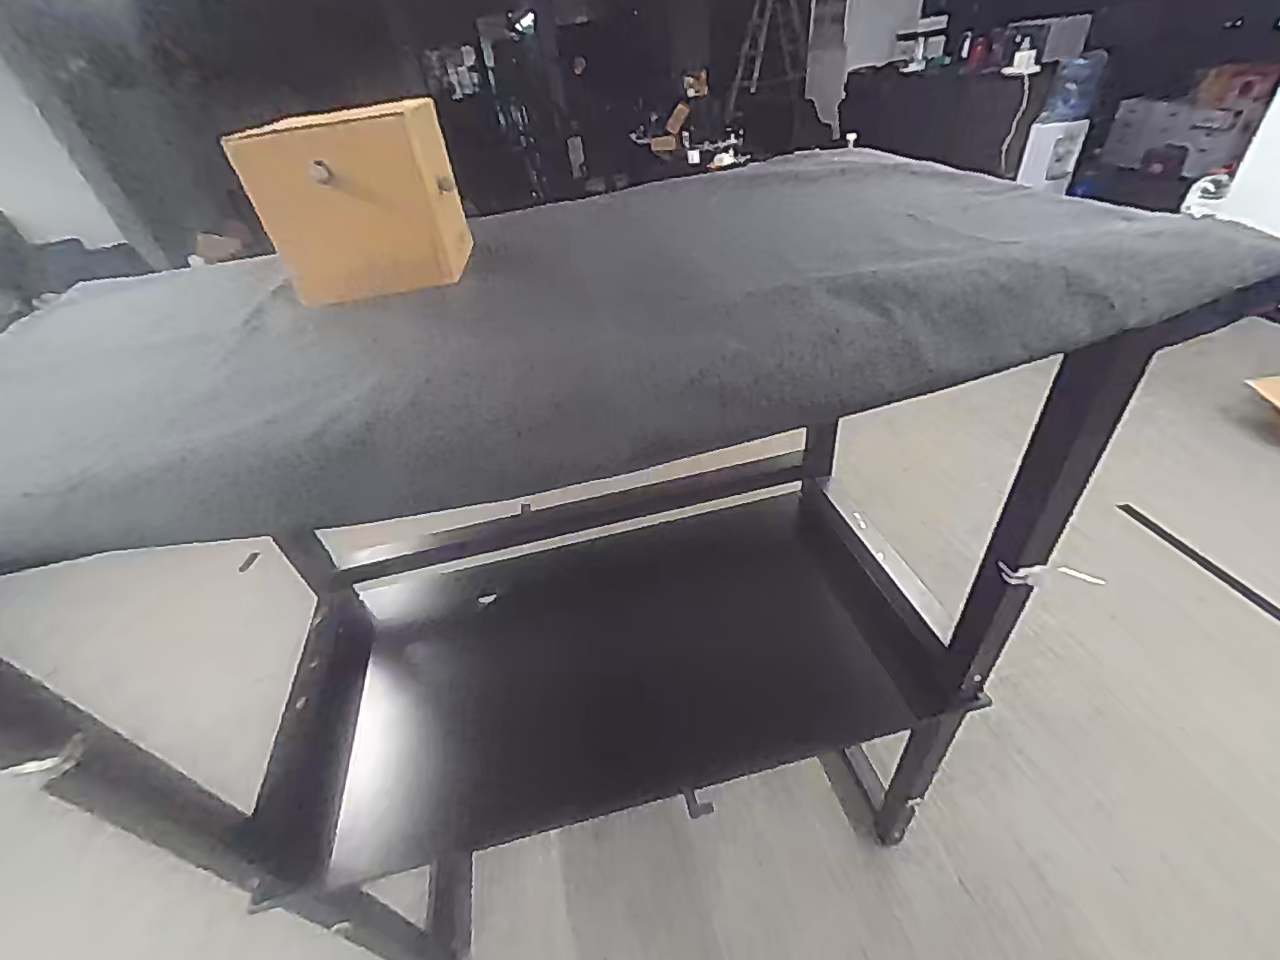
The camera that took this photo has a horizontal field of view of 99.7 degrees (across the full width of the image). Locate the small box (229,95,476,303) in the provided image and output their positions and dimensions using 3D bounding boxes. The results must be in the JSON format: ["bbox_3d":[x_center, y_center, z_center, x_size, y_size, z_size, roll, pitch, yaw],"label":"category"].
[{"bbox_3d":[-0.302,-0.322,0.621,0.179,0.176,0.168,-10,39,-1],"label":"small box"}]
